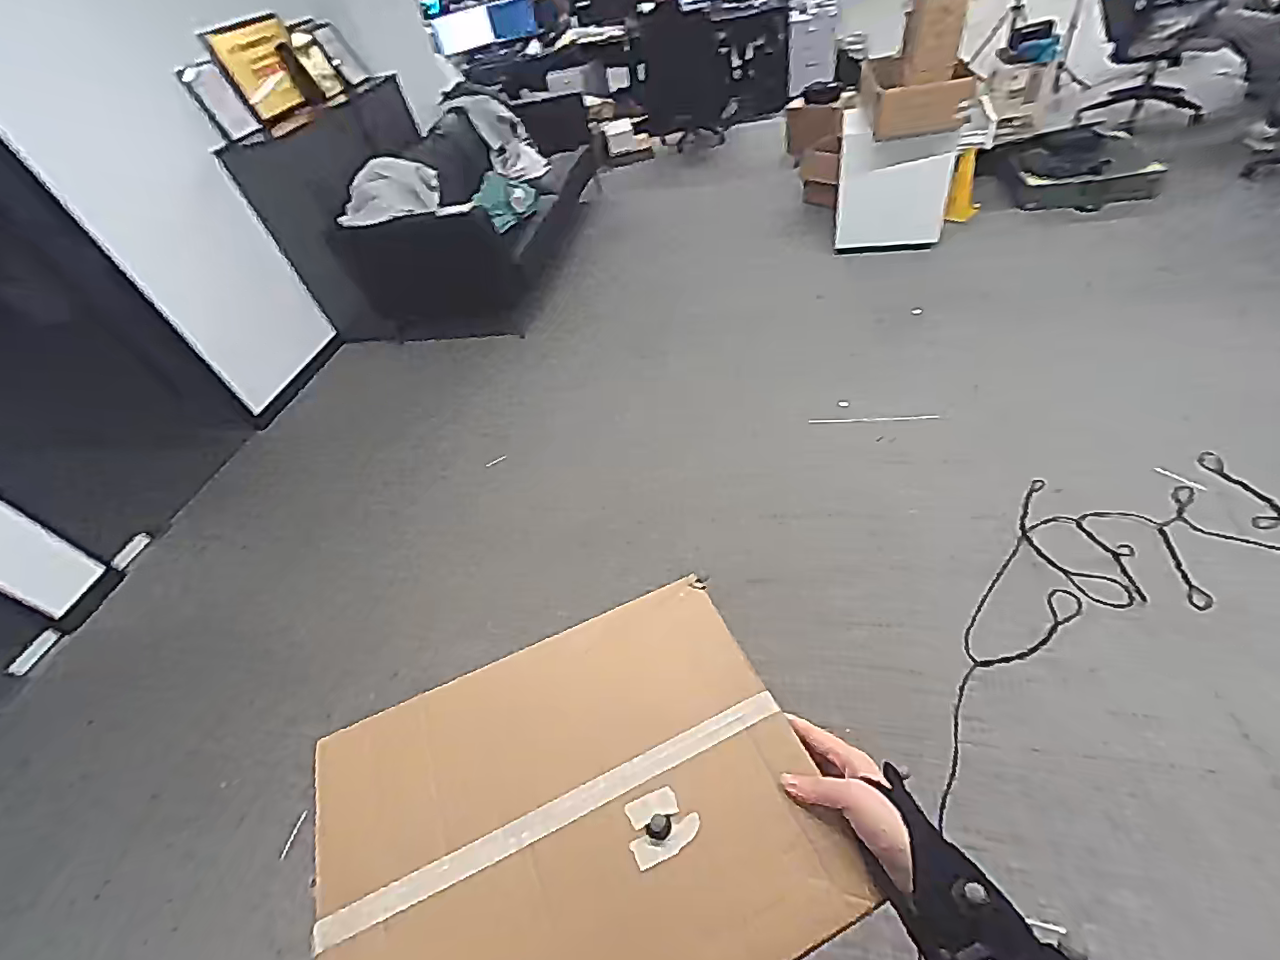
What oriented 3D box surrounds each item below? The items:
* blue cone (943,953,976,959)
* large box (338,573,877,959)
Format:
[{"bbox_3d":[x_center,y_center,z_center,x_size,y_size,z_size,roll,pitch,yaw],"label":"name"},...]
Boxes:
[{"bbox_3d":[0.621,0.896,0.872,0.193,0.380,0.192,7,50,21],"label":"blue cone"},{"bbox_3d":[-0.042,0.373,0.575,0.408,0.320,0.320,-20,48,-12],"label":"large box"}]
